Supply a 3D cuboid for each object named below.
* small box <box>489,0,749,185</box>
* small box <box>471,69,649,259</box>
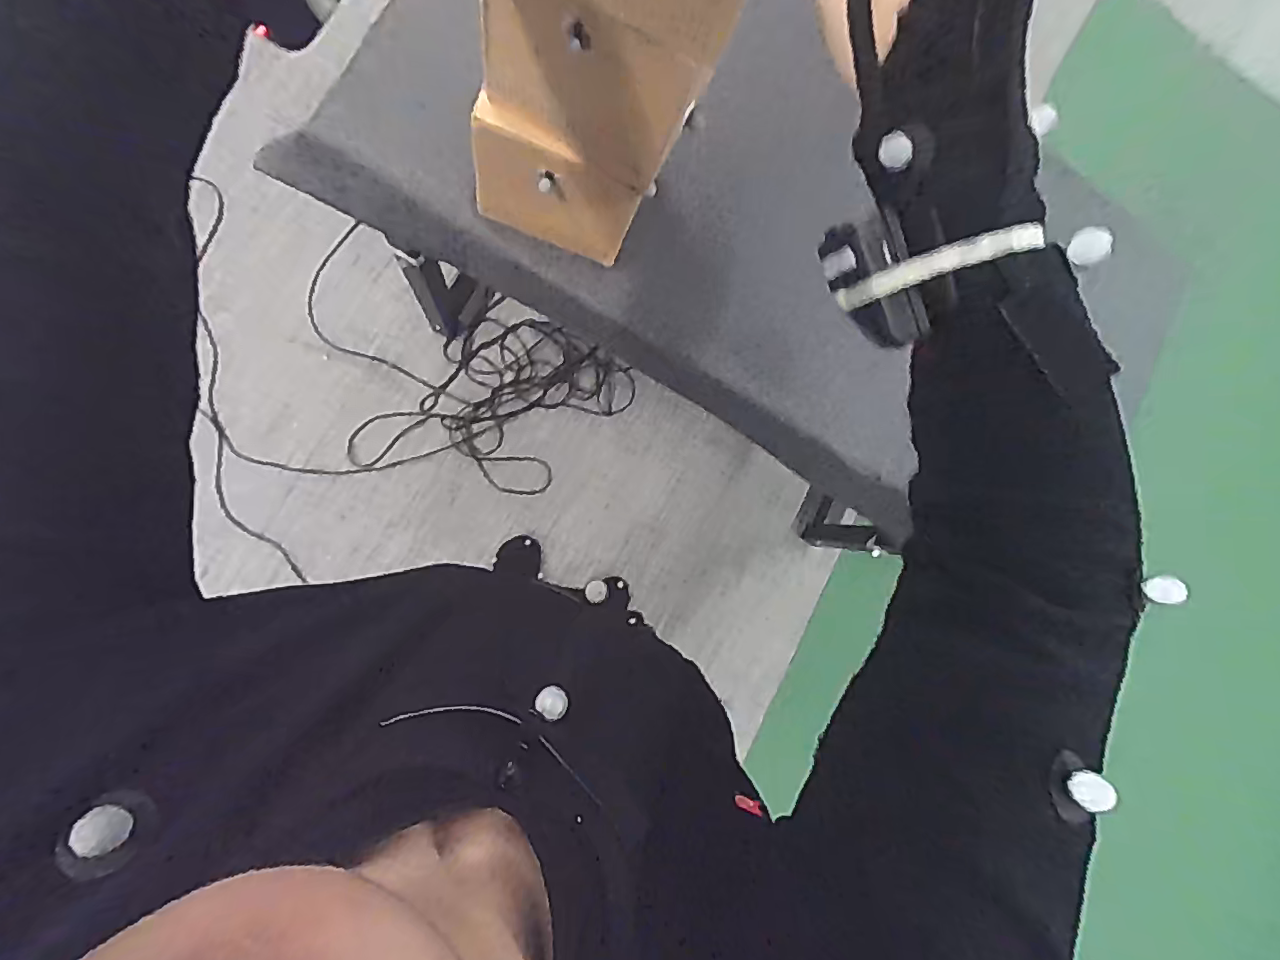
[{"bbox_3d":[-0.015,-0.394,0.453,0.179,0.176,0.168,28,82,-11],"label":"small box"},{"bbox_3d":[-0.072,-0.378,0.606,0.179,0.176,0.168,19,82,-11],"label":"small box"}]
